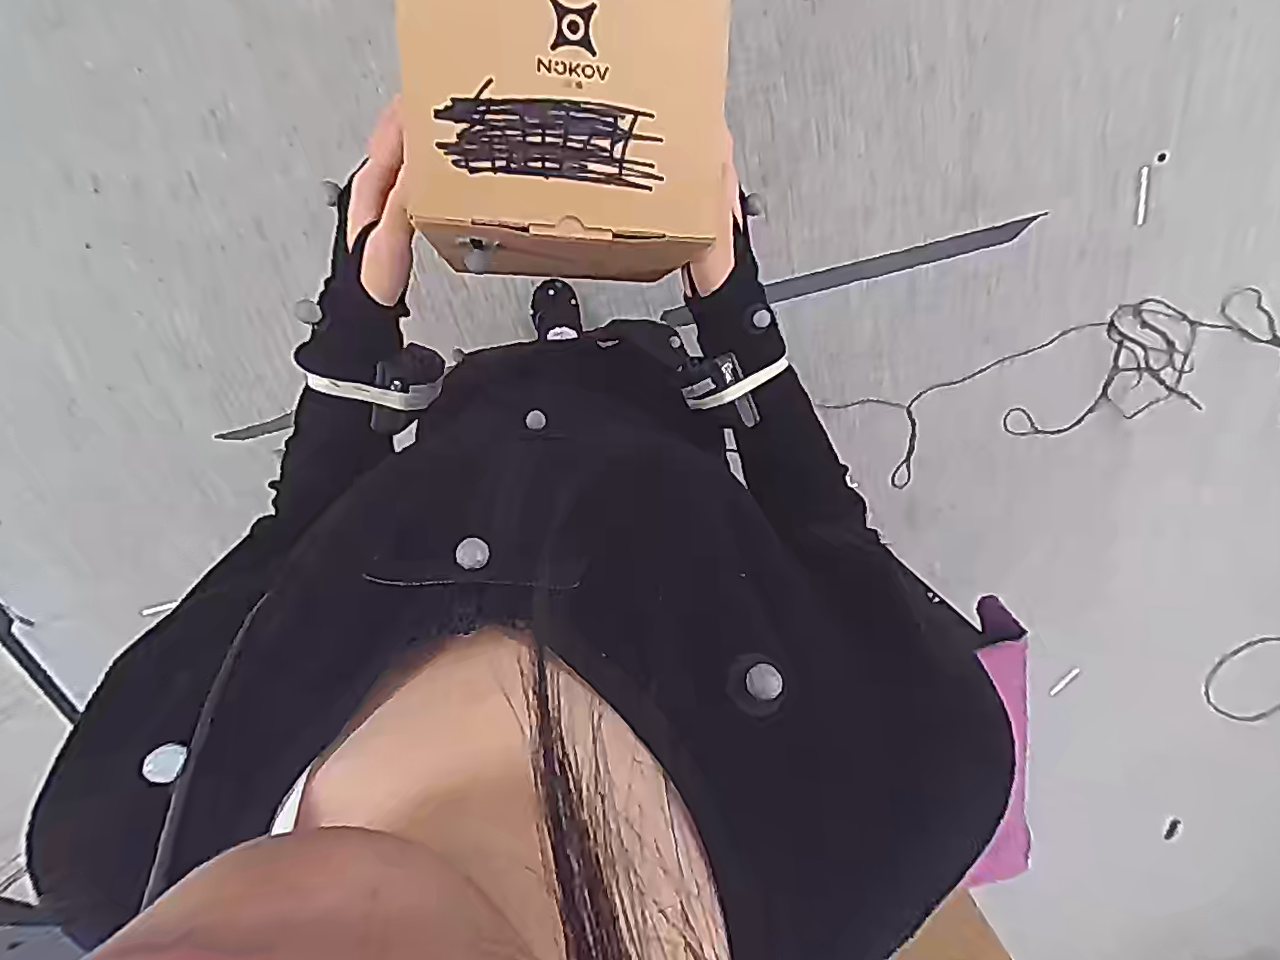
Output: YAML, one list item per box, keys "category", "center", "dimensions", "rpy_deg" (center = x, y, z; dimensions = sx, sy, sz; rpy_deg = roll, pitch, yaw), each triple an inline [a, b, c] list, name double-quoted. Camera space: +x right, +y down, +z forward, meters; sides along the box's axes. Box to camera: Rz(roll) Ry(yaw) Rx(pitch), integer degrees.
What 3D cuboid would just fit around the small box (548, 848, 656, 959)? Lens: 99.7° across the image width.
- category: "small box"
  center: [-0.063, 0.807, 0.965]
  dimensions: [0.168, 0.176, 0.179]
  rpy_deg: [-11, 111, -4]
